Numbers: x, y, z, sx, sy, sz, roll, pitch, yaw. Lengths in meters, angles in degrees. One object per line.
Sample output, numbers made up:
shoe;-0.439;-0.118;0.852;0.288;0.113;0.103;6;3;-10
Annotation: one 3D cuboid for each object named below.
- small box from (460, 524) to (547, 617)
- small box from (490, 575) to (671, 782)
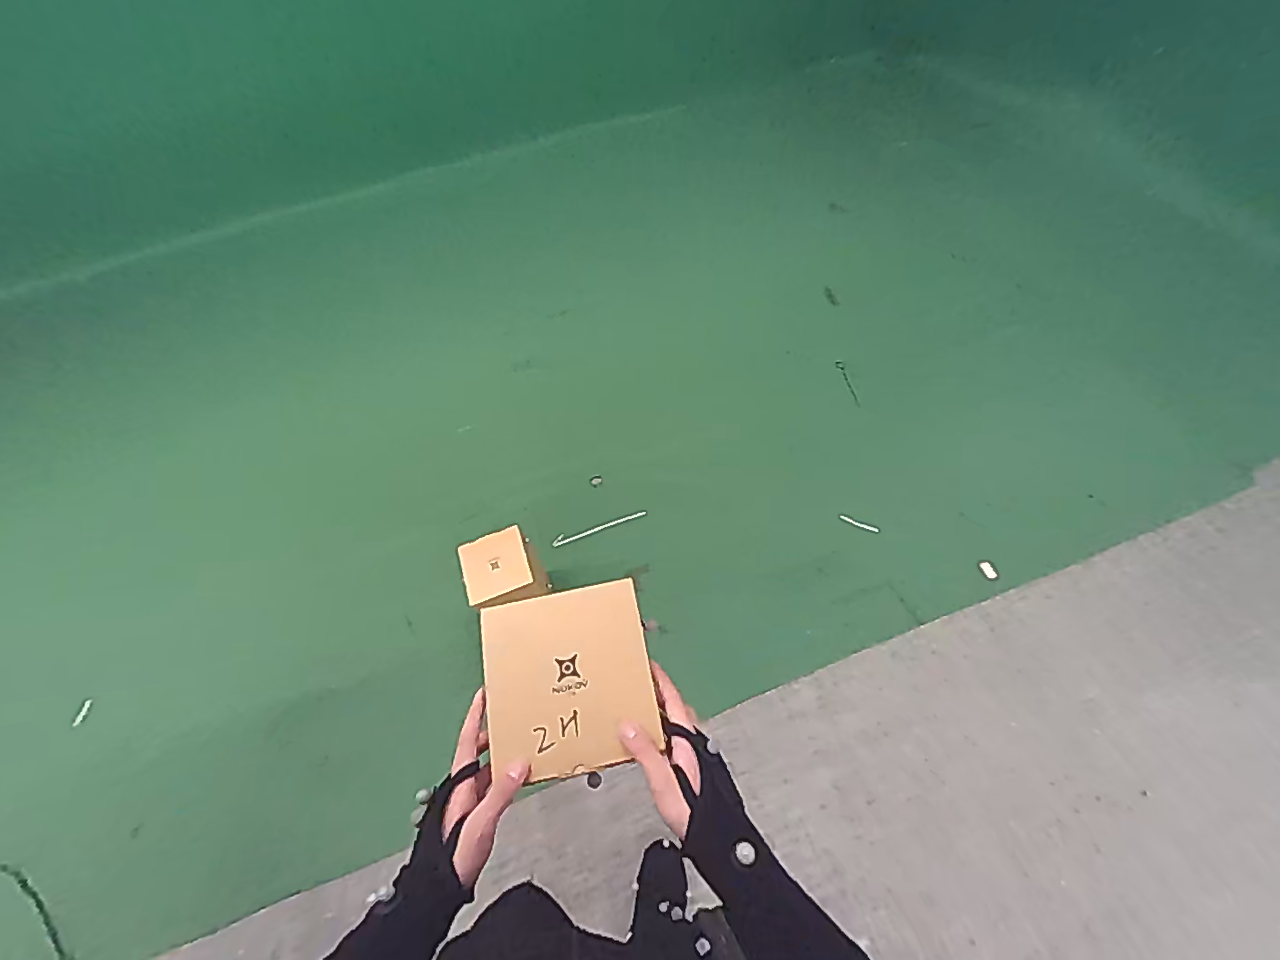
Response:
small box;-0.356;0.252;1.441;0.168;0.176;0.179;-21;58;-6
small box;-0.064;0.226;0.609;0.168;0.176;0.179;-10;64;-2
